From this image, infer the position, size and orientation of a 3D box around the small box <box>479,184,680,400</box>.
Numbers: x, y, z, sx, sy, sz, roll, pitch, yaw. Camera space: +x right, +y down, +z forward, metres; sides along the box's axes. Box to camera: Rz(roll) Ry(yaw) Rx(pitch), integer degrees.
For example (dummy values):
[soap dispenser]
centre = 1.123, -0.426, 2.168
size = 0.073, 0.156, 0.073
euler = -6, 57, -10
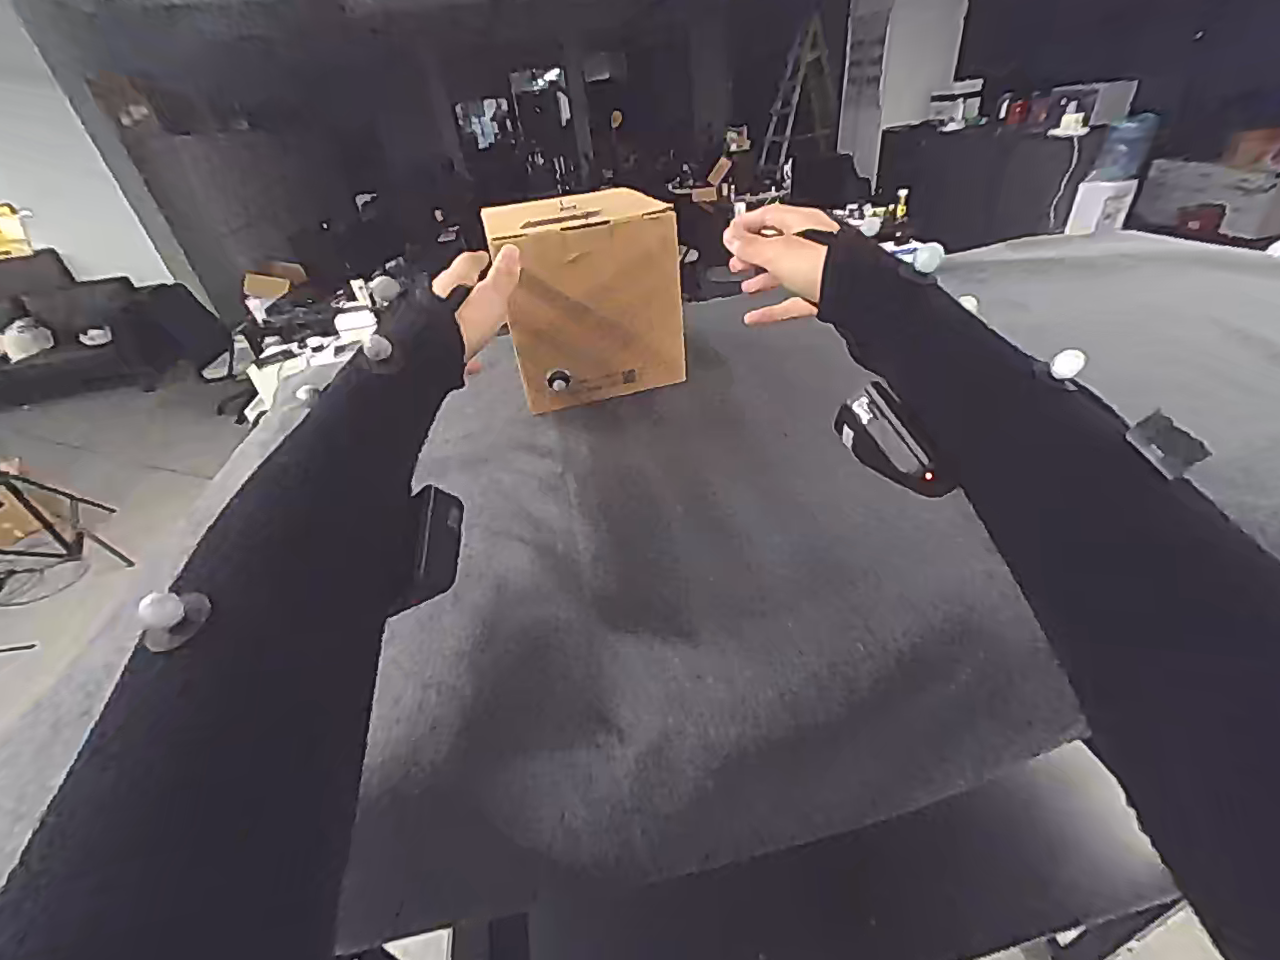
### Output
[small box]
centre = -0.063, -0.196, 0.568
size = 0.168, 0.176, 0.179
euler = -14, 36, -9
